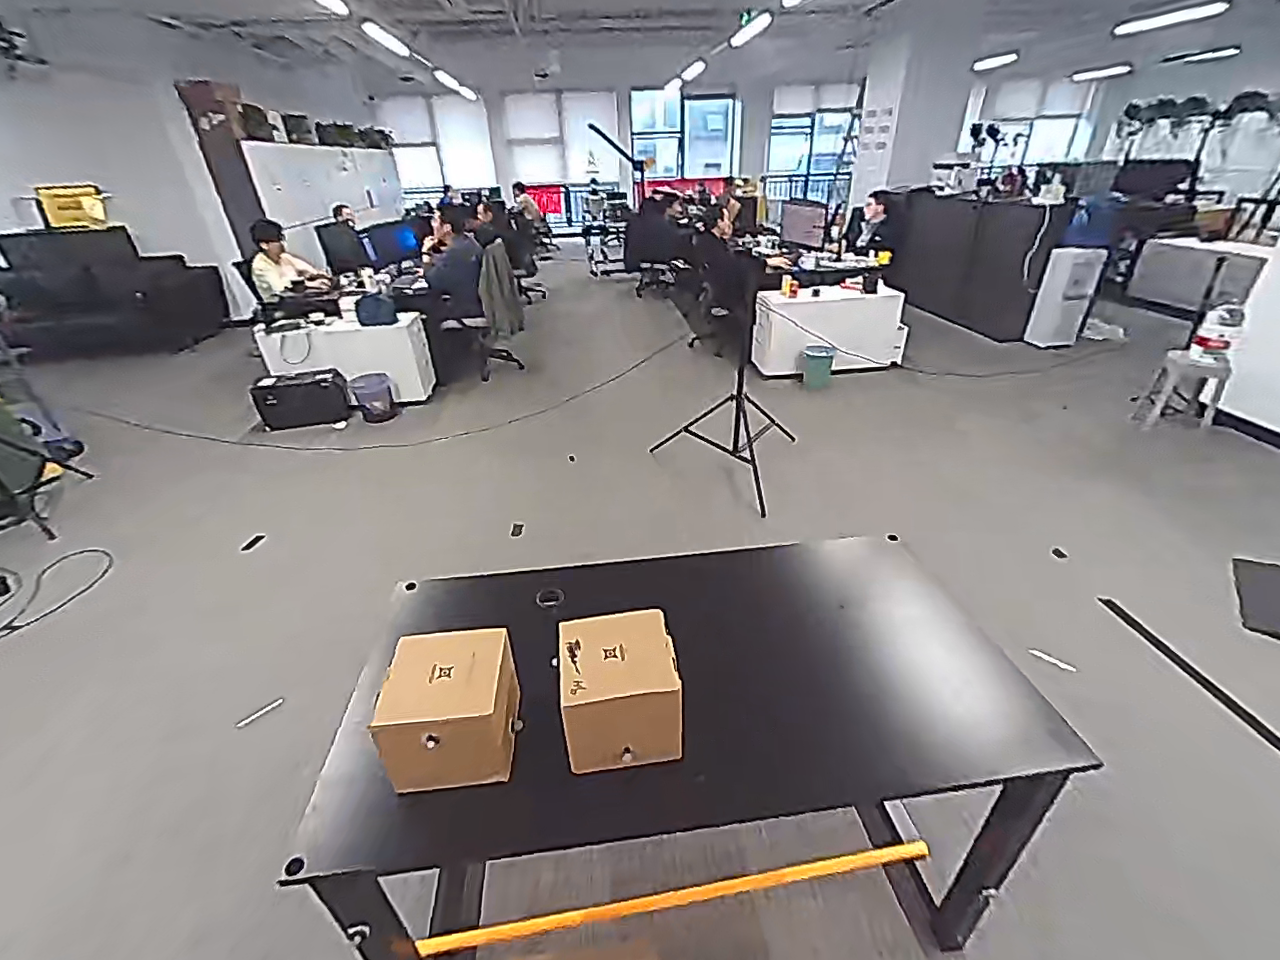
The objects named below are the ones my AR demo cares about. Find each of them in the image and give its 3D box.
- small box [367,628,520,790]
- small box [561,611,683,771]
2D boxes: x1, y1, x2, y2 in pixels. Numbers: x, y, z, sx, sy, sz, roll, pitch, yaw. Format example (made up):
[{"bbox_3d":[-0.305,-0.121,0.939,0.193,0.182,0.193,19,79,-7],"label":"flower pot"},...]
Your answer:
[{"bbox_3d":[-0.295,0.360,0.853,0.179,0.176,0.168,-4,32,-5],"label":"small box"},{"bbox_3d":[-0.033,0.338,0.872,0.179,0.176,0.168,-5,30,-6],"label":"small box"}]
